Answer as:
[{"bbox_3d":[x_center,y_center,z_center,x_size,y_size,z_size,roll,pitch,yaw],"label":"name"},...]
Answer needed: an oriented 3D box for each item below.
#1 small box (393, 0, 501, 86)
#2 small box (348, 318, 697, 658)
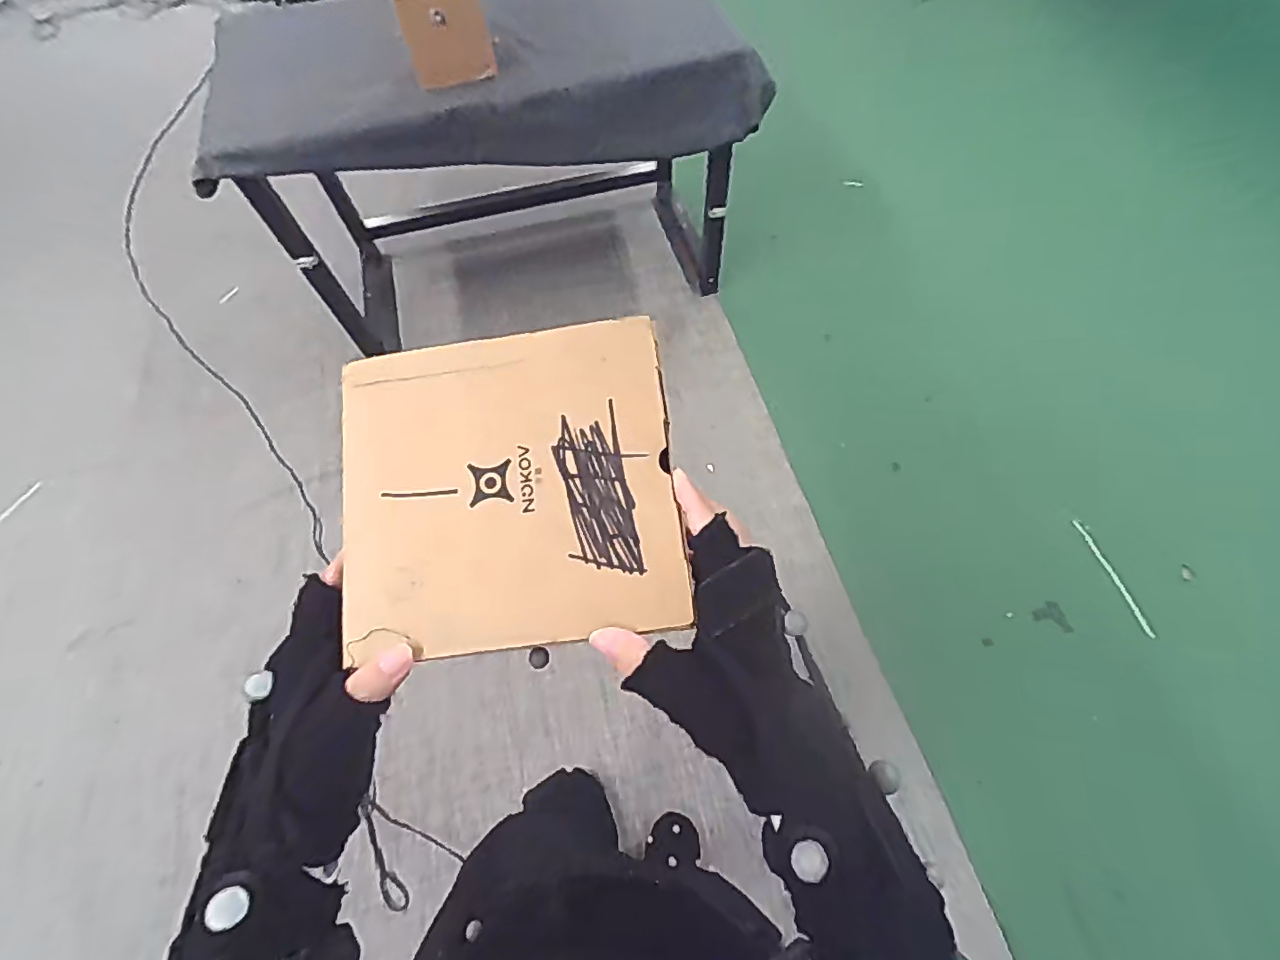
[{"bbox_3d":[-0.413,-0.984,1.162,0.179,0.176,0.168,-13,64,-6],"label":"small box"},{"bbox_3d":[-0.063,0.016,0.360,0.179,0.176,0.168,-8,77,2],"label":"small box"}]
